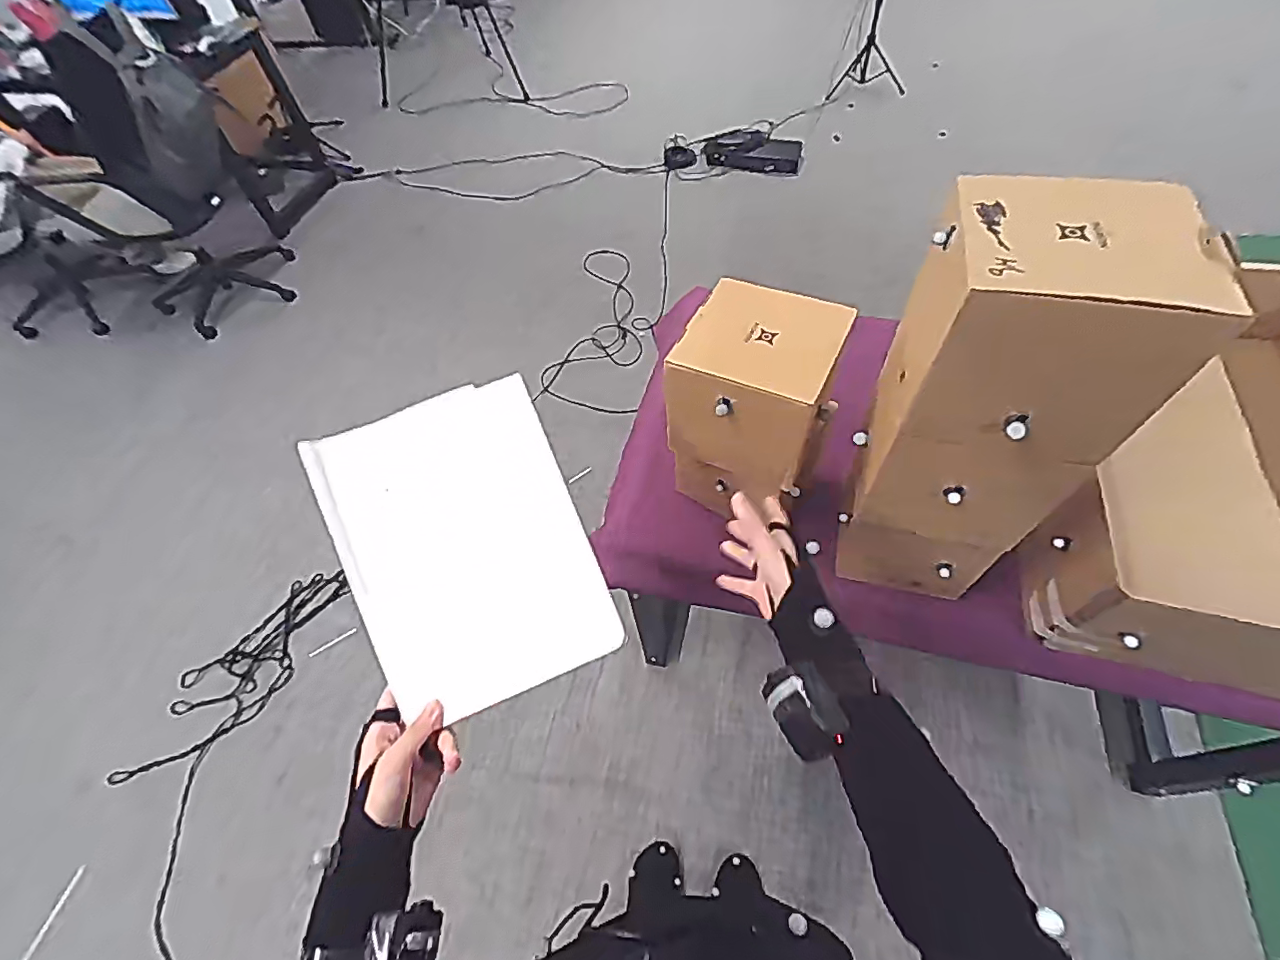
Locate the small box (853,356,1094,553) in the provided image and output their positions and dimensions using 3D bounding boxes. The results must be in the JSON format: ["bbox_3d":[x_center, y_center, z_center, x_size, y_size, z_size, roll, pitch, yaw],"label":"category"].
[{"bbox_3d":[0.358,-0.035,0.616,0.179,0.176,0.168,11,55,13],"label":"small box"}]

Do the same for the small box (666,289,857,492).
[{"bbox_3d":[0.150,-0.108,0.691,0.179,0.176,0.168,21,60,20],"label":"small box"}]

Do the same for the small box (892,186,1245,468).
[{"bbox_3d":[0.345,-0.131,0.482,0.179,0.176,0.168,11,55,12],"label":"small box"}]
